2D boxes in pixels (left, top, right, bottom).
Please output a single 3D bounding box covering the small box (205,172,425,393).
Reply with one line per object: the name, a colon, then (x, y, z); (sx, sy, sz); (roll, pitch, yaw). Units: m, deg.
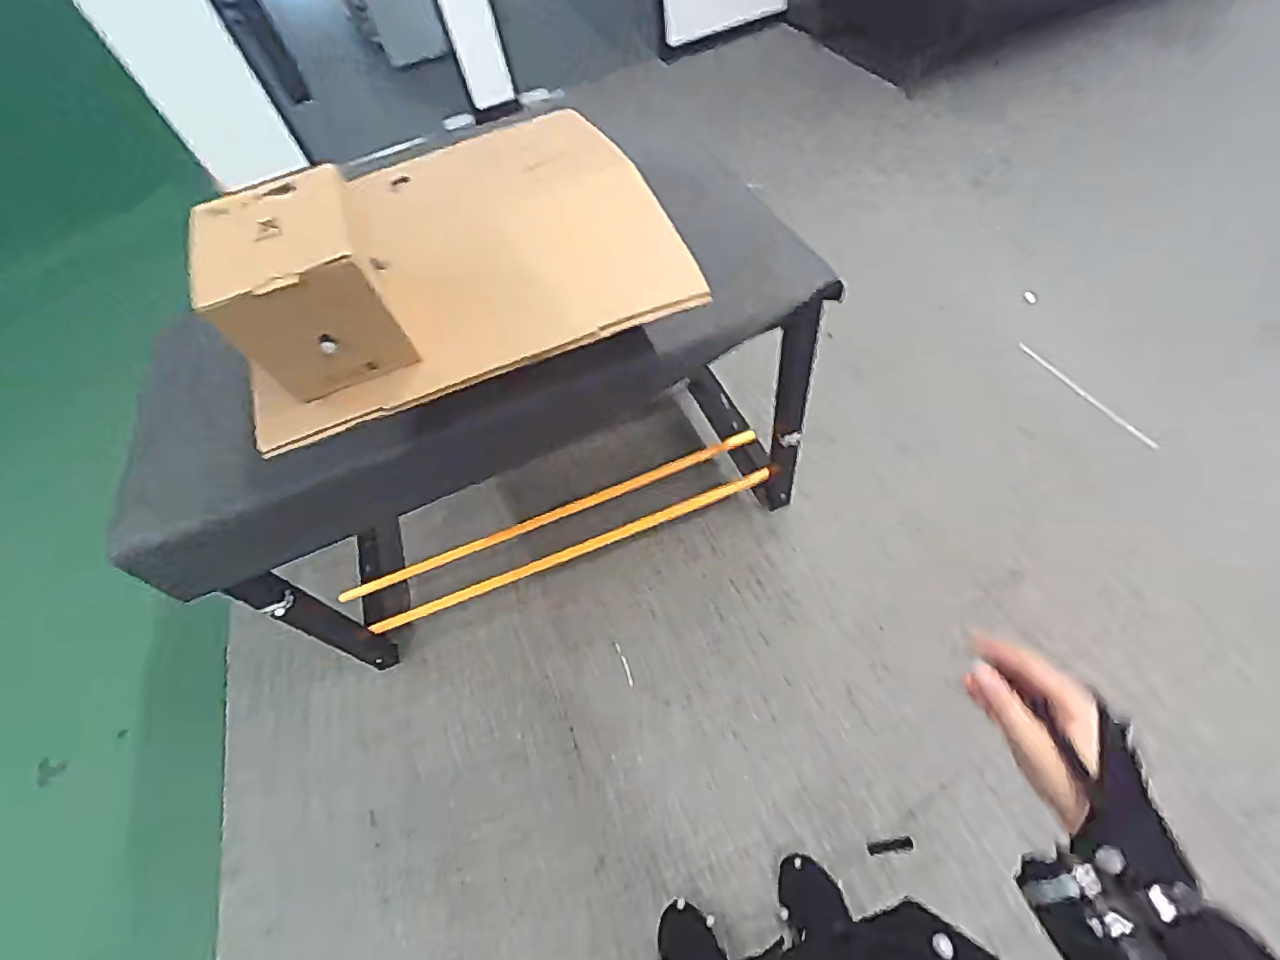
small box: (-0.389, -0.229, 0.667); (0.168, 0.176, 0.179); (-21, 64, -5)
